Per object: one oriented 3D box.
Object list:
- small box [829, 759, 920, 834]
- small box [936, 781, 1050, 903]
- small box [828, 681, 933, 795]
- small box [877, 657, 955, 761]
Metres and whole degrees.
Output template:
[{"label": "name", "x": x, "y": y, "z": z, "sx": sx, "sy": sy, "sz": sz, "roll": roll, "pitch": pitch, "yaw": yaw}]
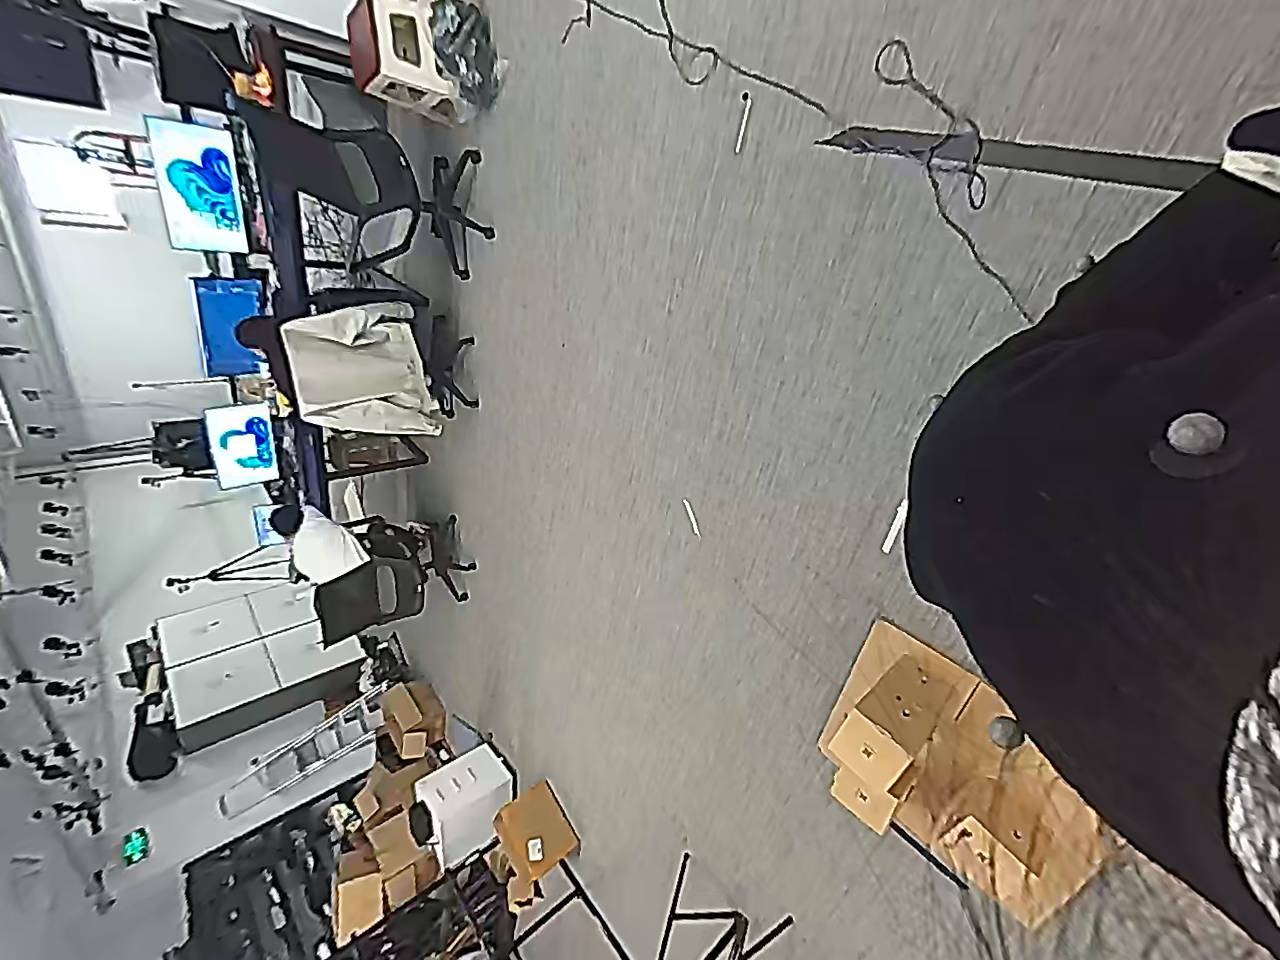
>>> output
[{"label": "small box", "x": 0.717, "y": 0.918, "z": 1.654, "sx": 0.179, "sy": 0.176, "sz": 0.168, "roll": 29, "pitch": 123, "yaw": 40}, {"label": "small box", "x": 0.929, "y": 0.944, "z": 1.420, "sx": 0.179, "sy": 0.176, "sz": 0.168, "roll": 42, "pitch": 129, "yaw": 30}, {"label": "small box", "x": 0.634, "y": 0.670, "z": 1.420, "sx": 0.168, "sy": 0.176, "sz": 0.179, "roll": 38, "pitch": 126, "yaw": 35}, {"label": "small box", "x": 0.754, "y": 0.640, "z": 1.526, "sx": 0.168, "sy": 0.176, "sz": 0.179, "roll": 34, "pitch": 124, "yaw": 36}]
